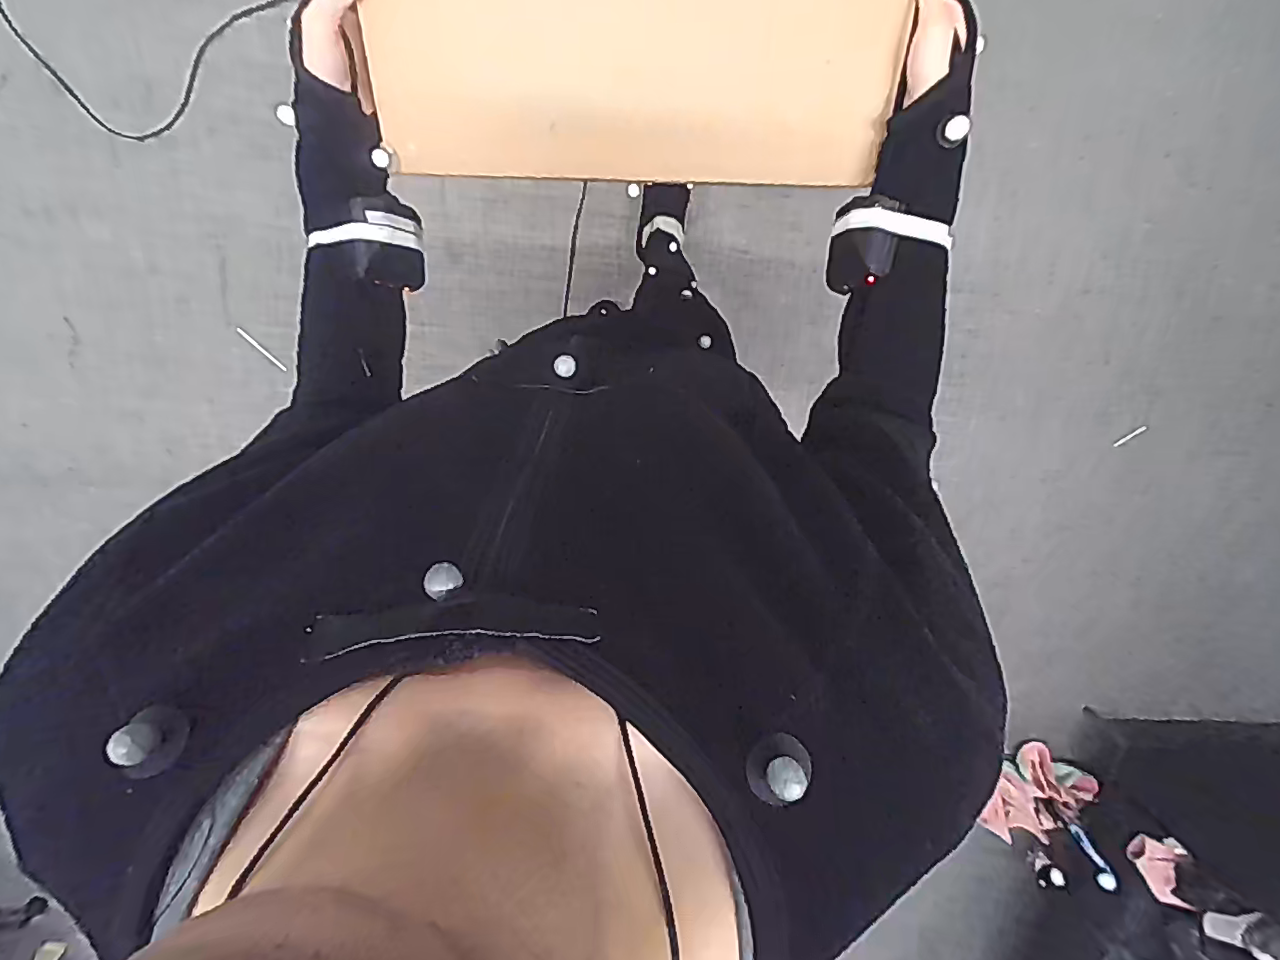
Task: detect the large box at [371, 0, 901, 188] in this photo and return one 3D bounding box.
[{"bbox_3d":[-0.002,-0.463,0.515,0.408,0.320,0.320,1,119,-1],"label":"large box"}]
